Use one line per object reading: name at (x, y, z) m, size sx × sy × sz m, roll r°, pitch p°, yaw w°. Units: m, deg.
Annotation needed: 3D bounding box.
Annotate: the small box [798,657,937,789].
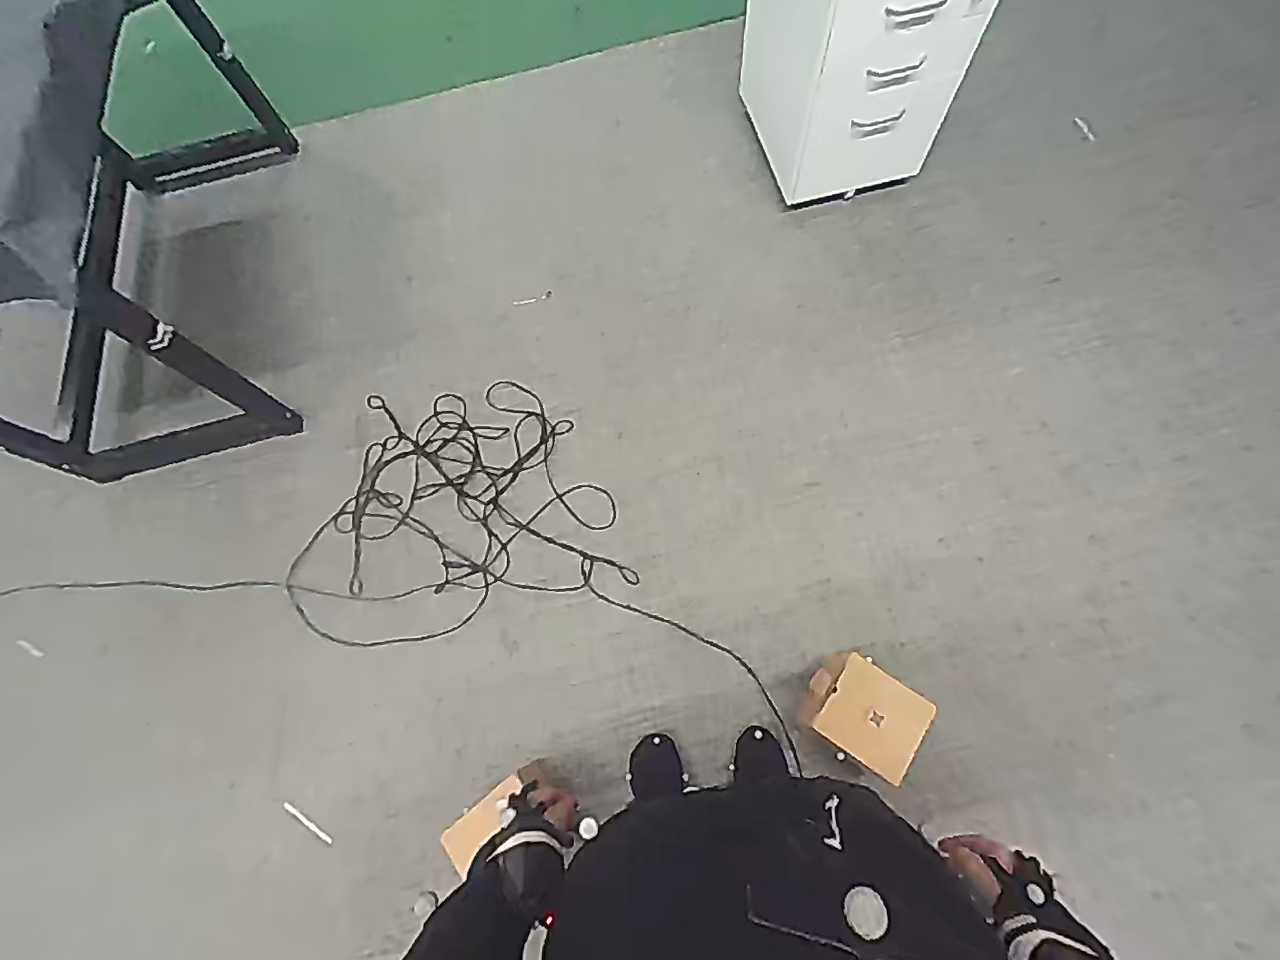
small box at (0.443, 0.473, 1.082) m, size 0.179 × 0.176 × 0.168 m, roll 33°, pitch 76°, yaw 15°
